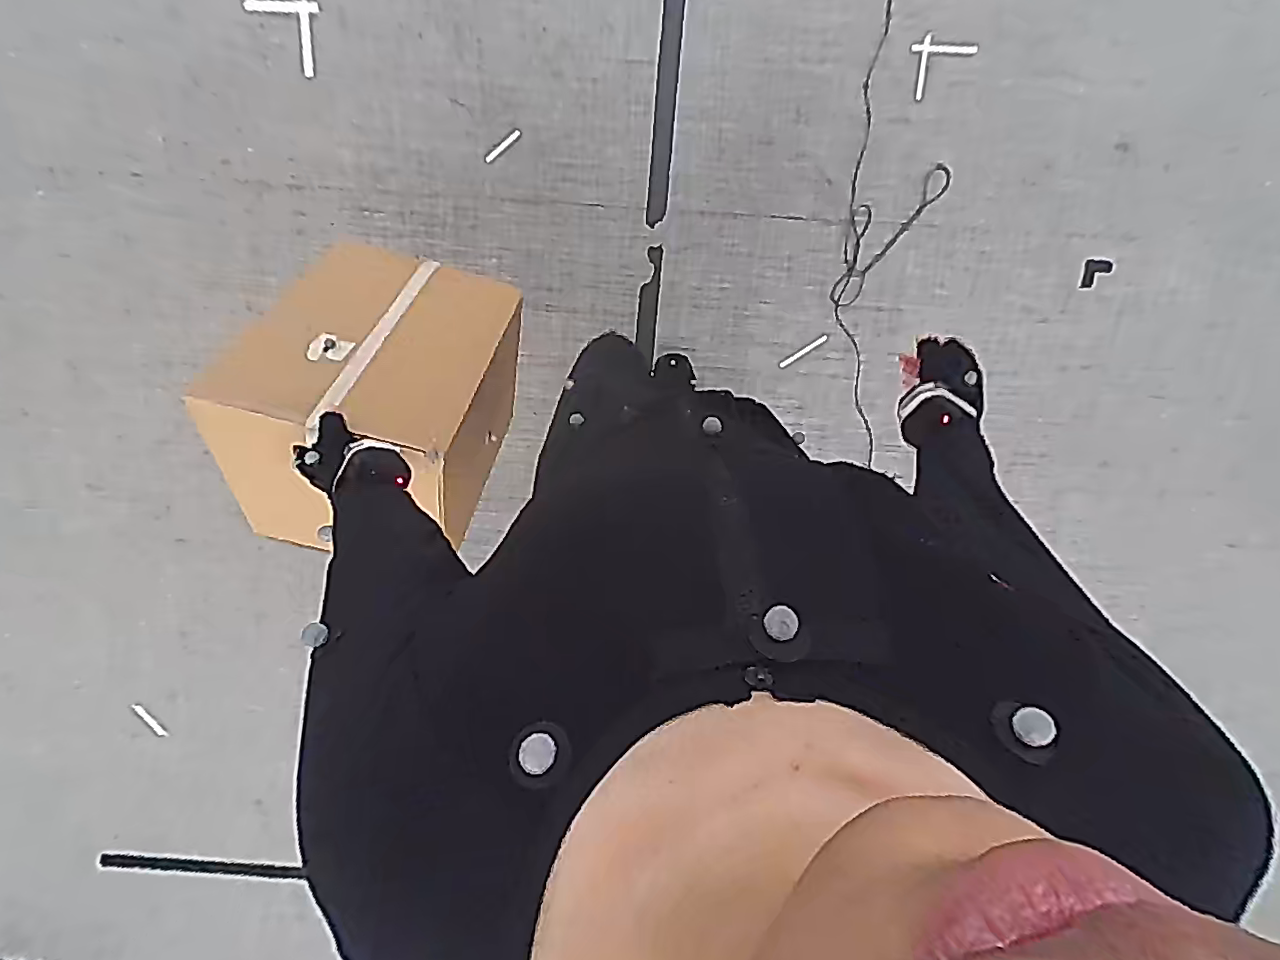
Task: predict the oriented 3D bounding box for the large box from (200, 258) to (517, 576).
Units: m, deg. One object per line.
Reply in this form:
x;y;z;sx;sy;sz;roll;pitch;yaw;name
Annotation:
-0.417;-0.107;0.926;0.320;0.408;0.320;13;138;-5;large box
